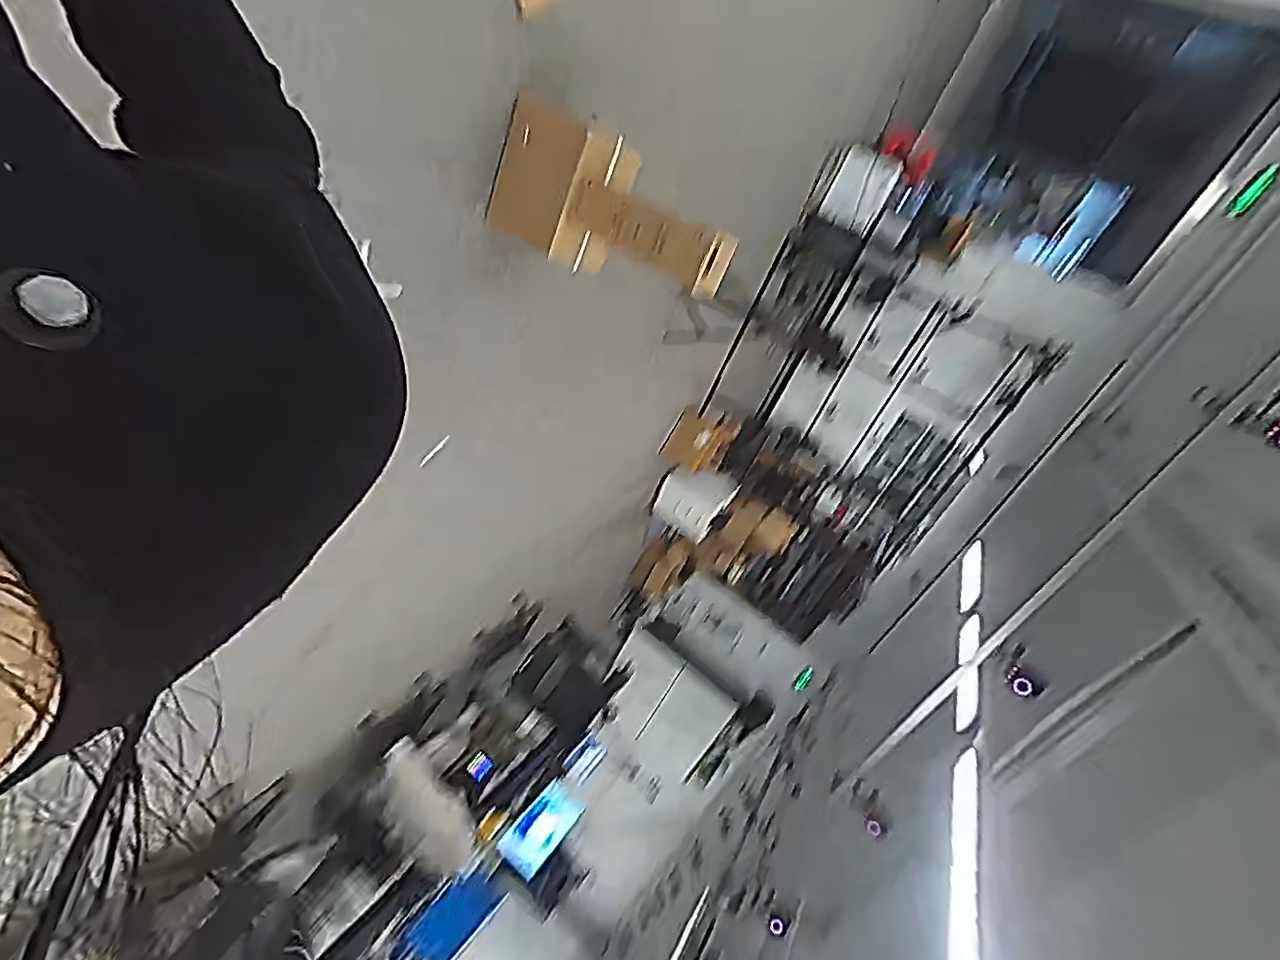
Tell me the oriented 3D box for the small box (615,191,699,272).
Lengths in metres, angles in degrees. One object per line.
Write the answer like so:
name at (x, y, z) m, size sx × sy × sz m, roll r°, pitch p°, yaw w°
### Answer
small box at (0.049, -0.773, 1.682) m, size 0.179 × 0.176 × 0.168 m, roll -20°, pitch 142°, yaw -57°

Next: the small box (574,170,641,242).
small box at (-0.082, -0.861, 1.728) m, size 0.179 × 0.176 × 0.168 m, roll -19°, pitch 140°, yaw -60°
